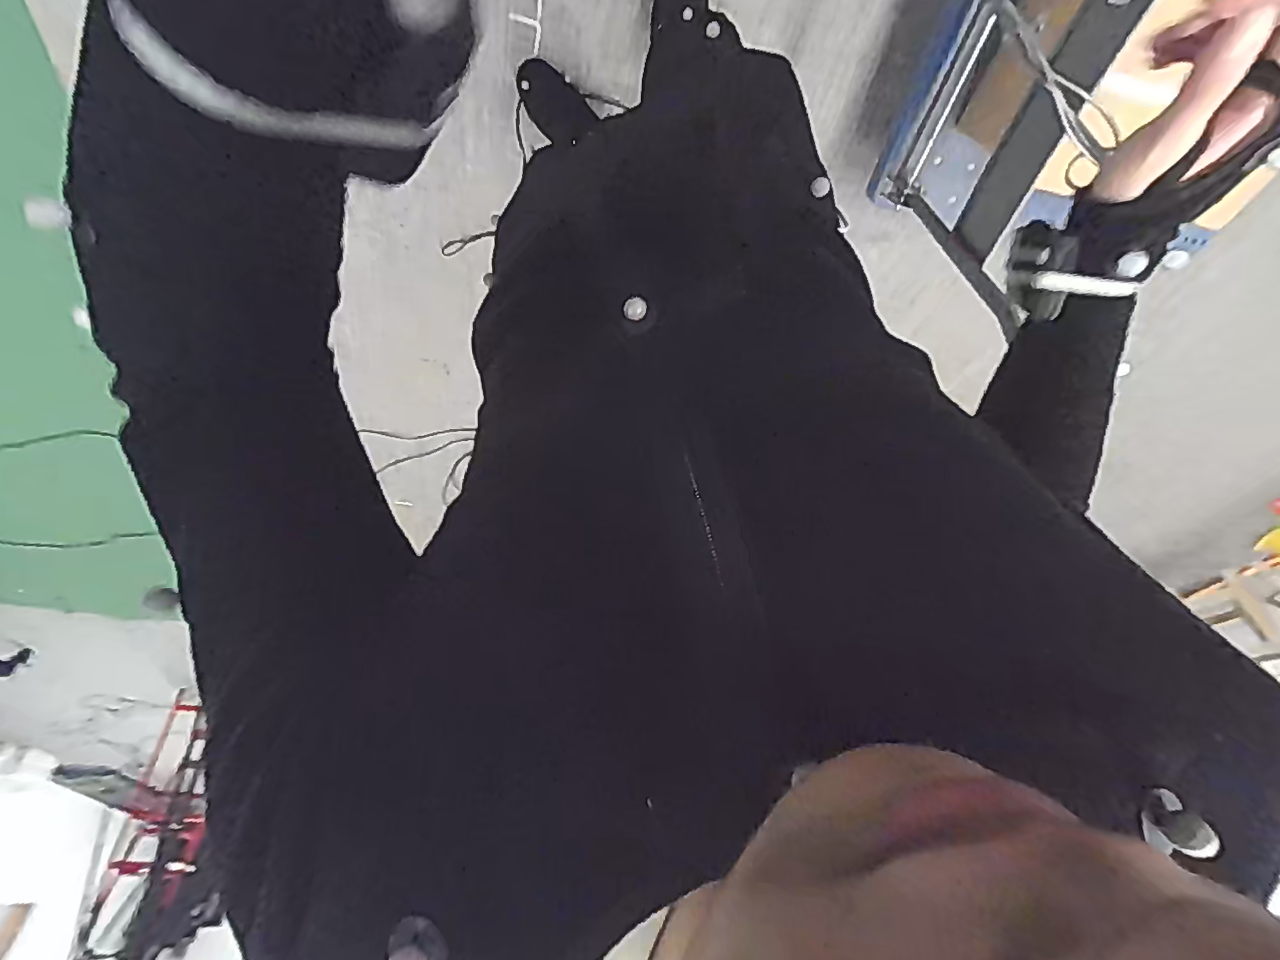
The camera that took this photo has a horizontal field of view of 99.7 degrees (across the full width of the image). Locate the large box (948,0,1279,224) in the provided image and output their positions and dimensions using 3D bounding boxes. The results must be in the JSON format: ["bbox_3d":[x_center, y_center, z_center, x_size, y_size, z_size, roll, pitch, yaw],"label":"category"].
[{"bbox_3d":[0.861,-0.696,0.951,0.408,0.320,0.320,5,138,-10],"label":"large box"}]
